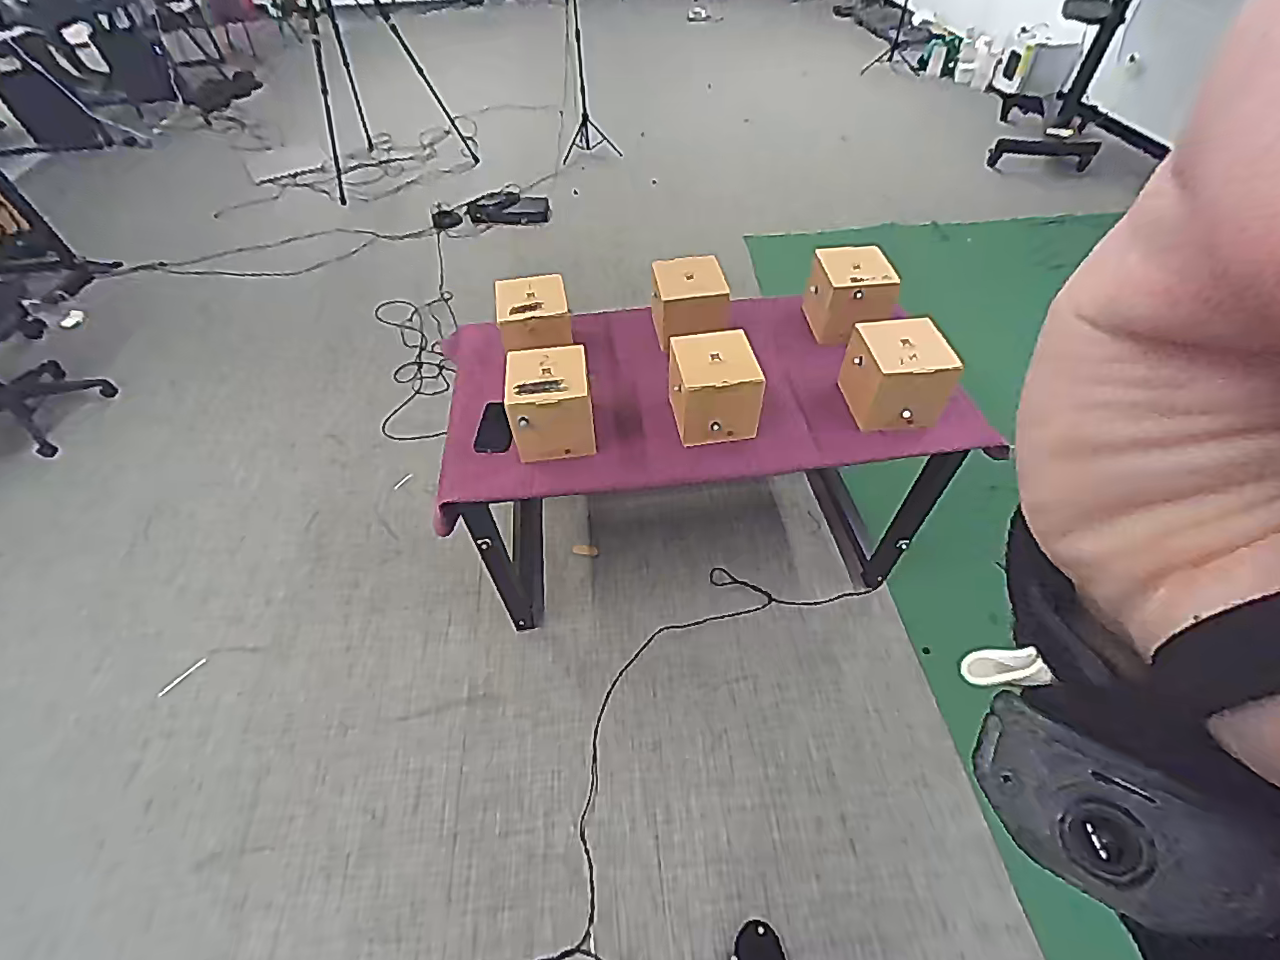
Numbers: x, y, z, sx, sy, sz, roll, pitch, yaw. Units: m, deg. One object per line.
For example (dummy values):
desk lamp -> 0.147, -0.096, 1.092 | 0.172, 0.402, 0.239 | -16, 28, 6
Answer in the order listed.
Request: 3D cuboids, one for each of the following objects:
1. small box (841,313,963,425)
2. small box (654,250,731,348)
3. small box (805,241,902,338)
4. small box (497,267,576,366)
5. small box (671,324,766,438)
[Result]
small box -> 0.562, -0.244, 1.191 | 0.168, 0.176, 0.179 | -5, 51, 0
small box -> 0.127, -0.462, 1.385 | 0.168, 0.176, 0.179 | -7, 52, -3
small box -> 0.537, -0.489, 1.391 | 0.168, 0.176, 0.179 | -4, 51, -1
small box -> -0.255, -0.400, 1.345 | 0.168, 0.176, 0.179 | -9, 51, -6
small box -> 0.162, -0.216, 1.187 | 0.168, 0.176, 0.179 | -7, 51, -4
